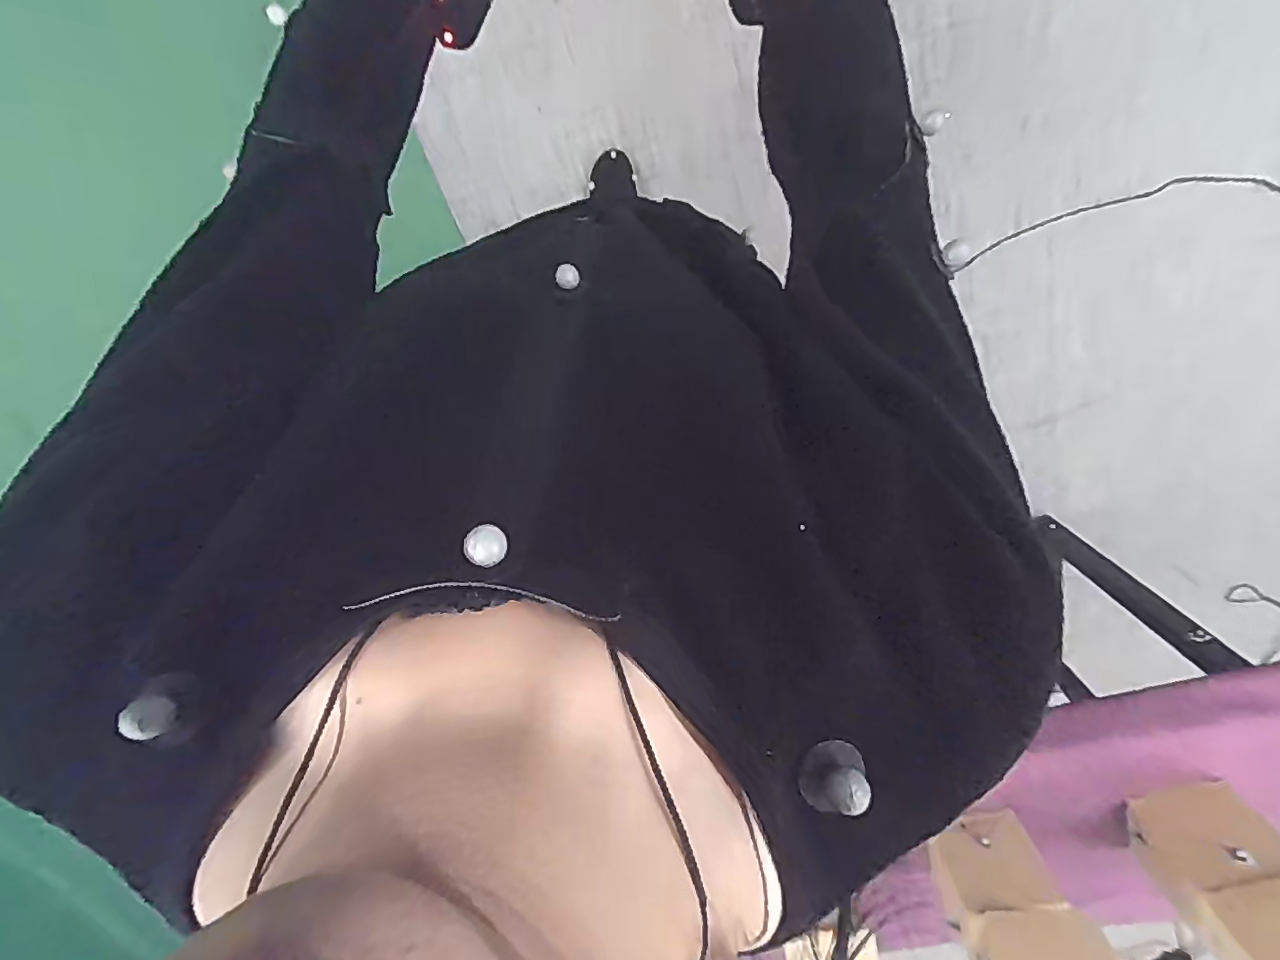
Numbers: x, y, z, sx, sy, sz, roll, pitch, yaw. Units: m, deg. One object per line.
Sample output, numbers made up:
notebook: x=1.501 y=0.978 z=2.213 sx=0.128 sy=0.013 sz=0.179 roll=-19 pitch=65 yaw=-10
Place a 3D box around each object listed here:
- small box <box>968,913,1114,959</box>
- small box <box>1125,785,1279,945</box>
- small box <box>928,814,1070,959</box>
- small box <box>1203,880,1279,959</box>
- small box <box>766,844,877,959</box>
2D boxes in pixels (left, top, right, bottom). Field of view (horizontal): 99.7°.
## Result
small box: x=0.673 y=0.838 z=0.873 sx=0.179 sy=0.176 sz=0.168 roll=-4 pitch=115 yaw=4
small box: x=1.032 y=0.684 z=0.972 sx=0.179 sy=0.176 sz=0.168 roll=-20 pitch=112 yaw=11
small box: x=0.669 y=0.774 z=1.025 sx=0.168 sy=0.176 sz=0.179 roll=-14 pitch=113 yaw=8
small box: x=1.020 y=0.749 z=0.825 sx=0.179 sy=0.176 sz=0.168 roll=-22 pitch=111 yaw=11
small box: x=0.356 y=0.856 z=1.073 sx=0.168 sy=0.176 sz=0.179 roll=-13 pitch=113 yaw=7
